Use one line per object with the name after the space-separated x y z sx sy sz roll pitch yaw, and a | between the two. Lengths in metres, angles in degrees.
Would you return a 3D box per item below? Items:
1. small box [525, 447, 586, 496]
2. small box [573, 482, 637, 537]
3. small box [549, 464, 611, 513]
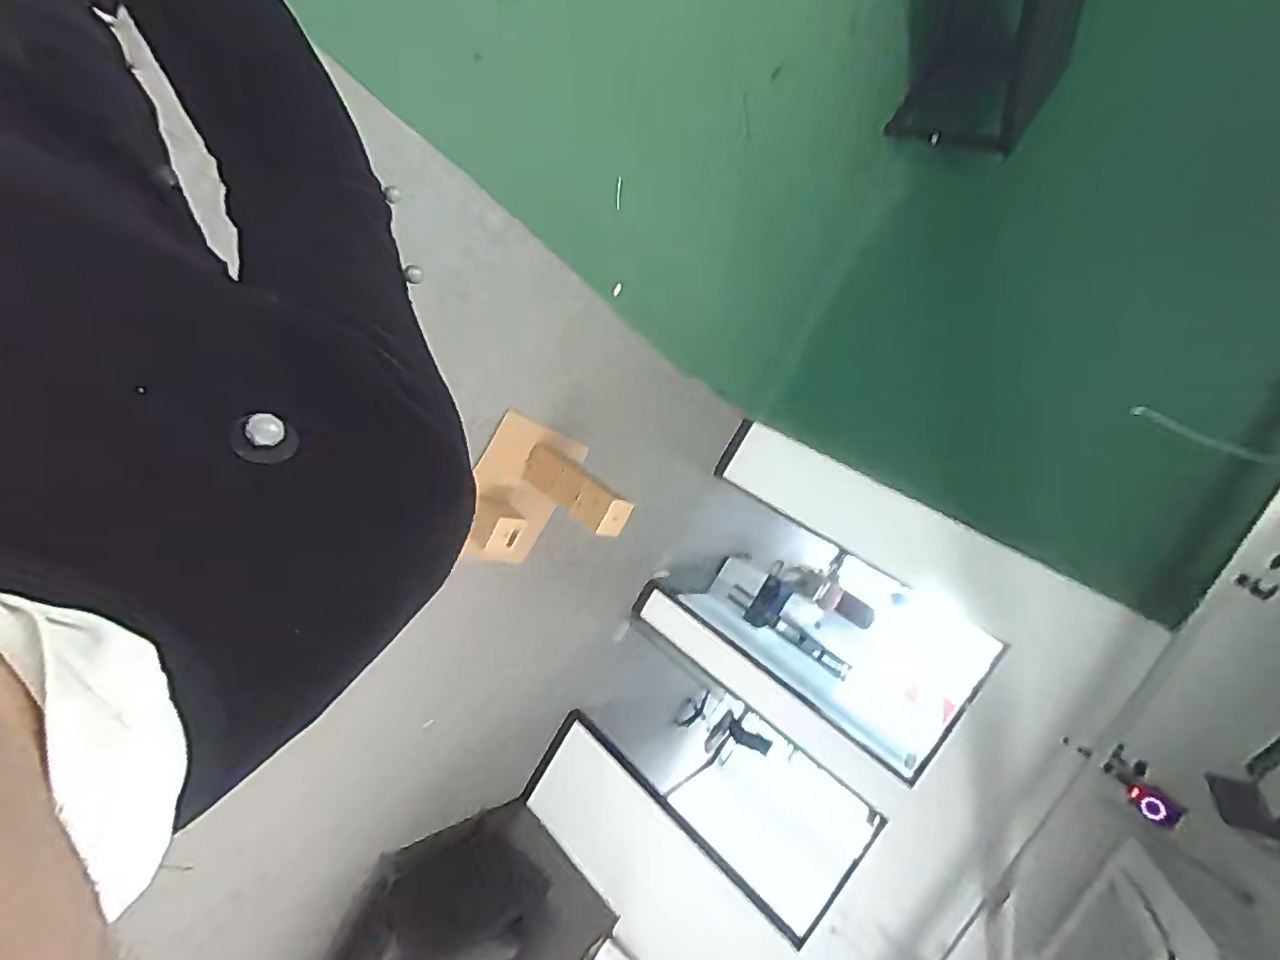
-0.383 -0.035 2.438 0.179 0.176 0.168 10 110 -57 | small box
-0.149 0.124 2.276 0.179 0.176 0.168 16 104 -59 | small box
-0.265 0.043 2.356 0.179 0.176 0.168 15 105 -59 | small box
